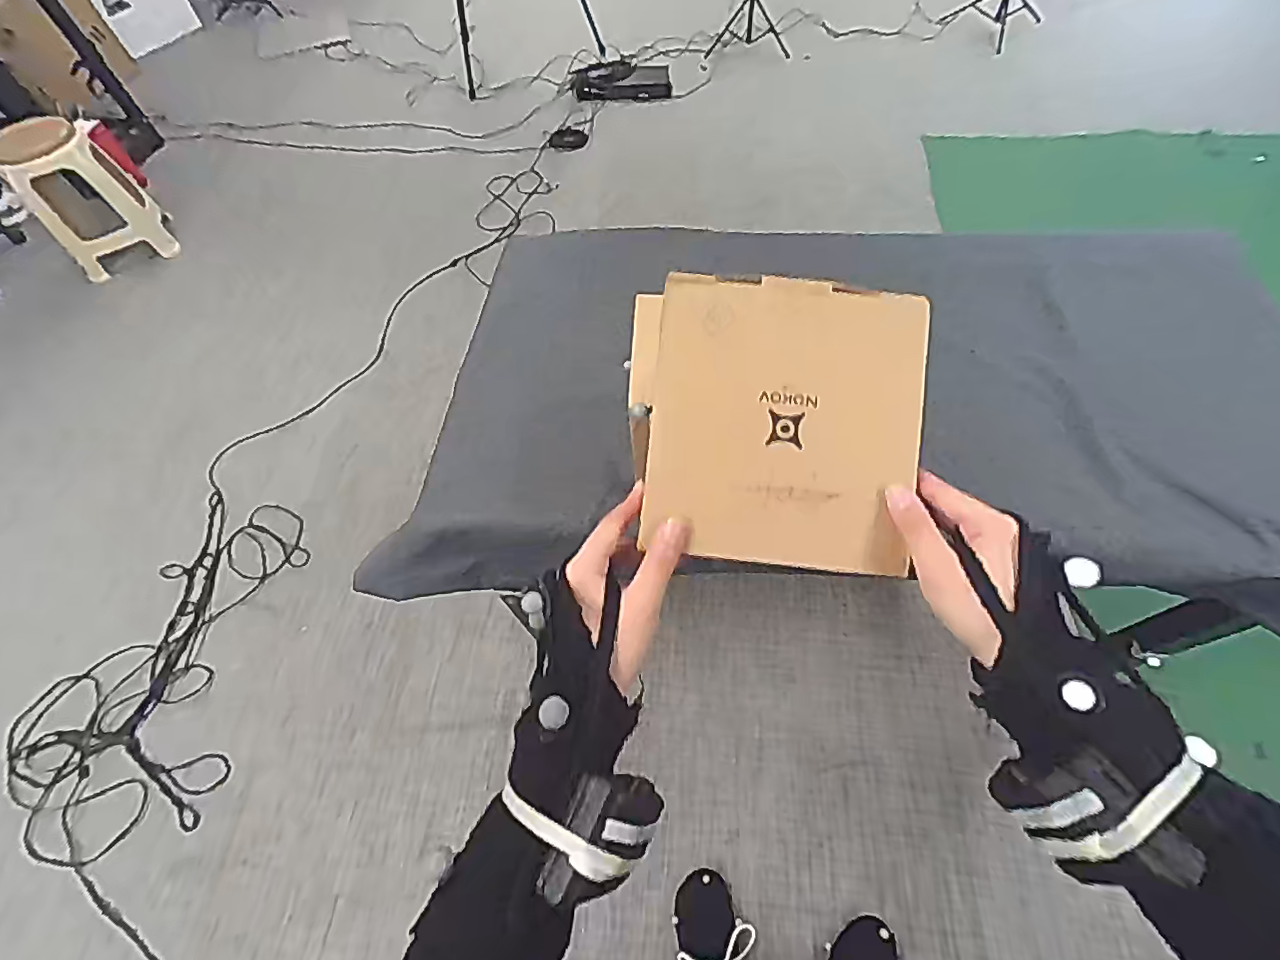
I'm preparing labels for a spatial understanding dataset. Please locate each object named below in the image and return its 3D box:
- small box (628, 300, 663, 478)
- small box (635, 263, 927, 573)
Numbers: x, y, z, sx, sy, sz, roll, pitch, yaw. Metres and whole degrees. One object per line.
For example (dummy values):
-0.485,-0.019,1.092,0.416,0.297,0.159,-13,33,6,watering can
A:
0.076,-0.099,0.668,0.168,0.176,0.179,0,58,5,small box
0.087,-0.035,0.405,0.168,0.176,0.179,6,87,1,small box
